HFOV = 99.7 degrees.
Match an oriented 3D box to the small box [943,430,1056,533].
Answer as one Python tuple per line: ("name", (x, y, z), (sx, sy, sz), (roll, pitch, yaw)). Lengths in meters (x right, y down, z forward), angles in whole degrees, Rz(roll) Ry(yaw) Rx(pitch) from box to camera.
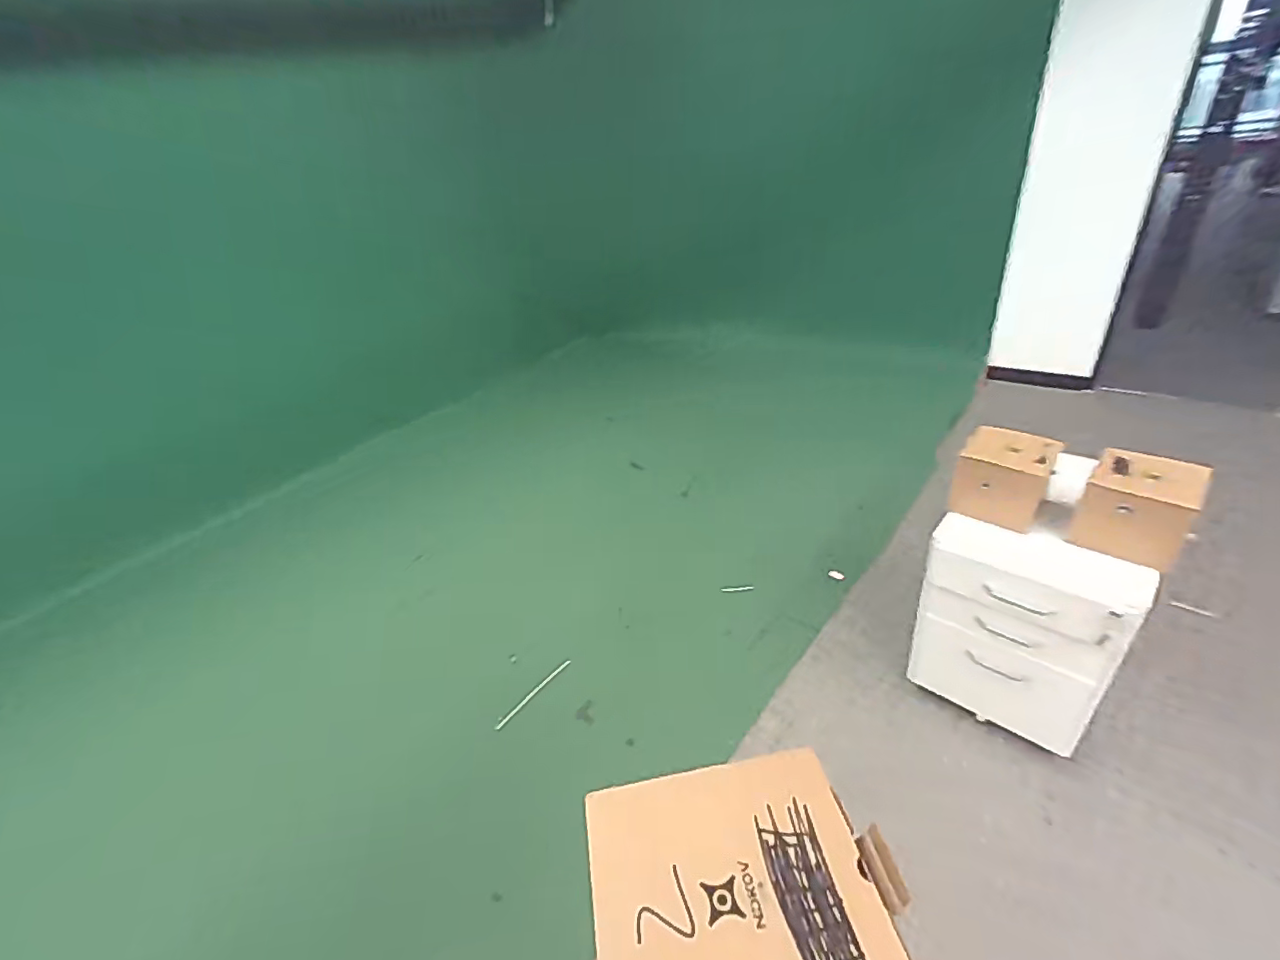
("small box", (0.865, 0.003, 1.315), (0.179, 0.176, 0.168), (23, 46, 39))

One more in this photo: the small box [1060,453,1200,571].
("small box", (1.049, 0.068, 1.168), (0.168, 0.176, 0.179), (-34, 40, -31))
